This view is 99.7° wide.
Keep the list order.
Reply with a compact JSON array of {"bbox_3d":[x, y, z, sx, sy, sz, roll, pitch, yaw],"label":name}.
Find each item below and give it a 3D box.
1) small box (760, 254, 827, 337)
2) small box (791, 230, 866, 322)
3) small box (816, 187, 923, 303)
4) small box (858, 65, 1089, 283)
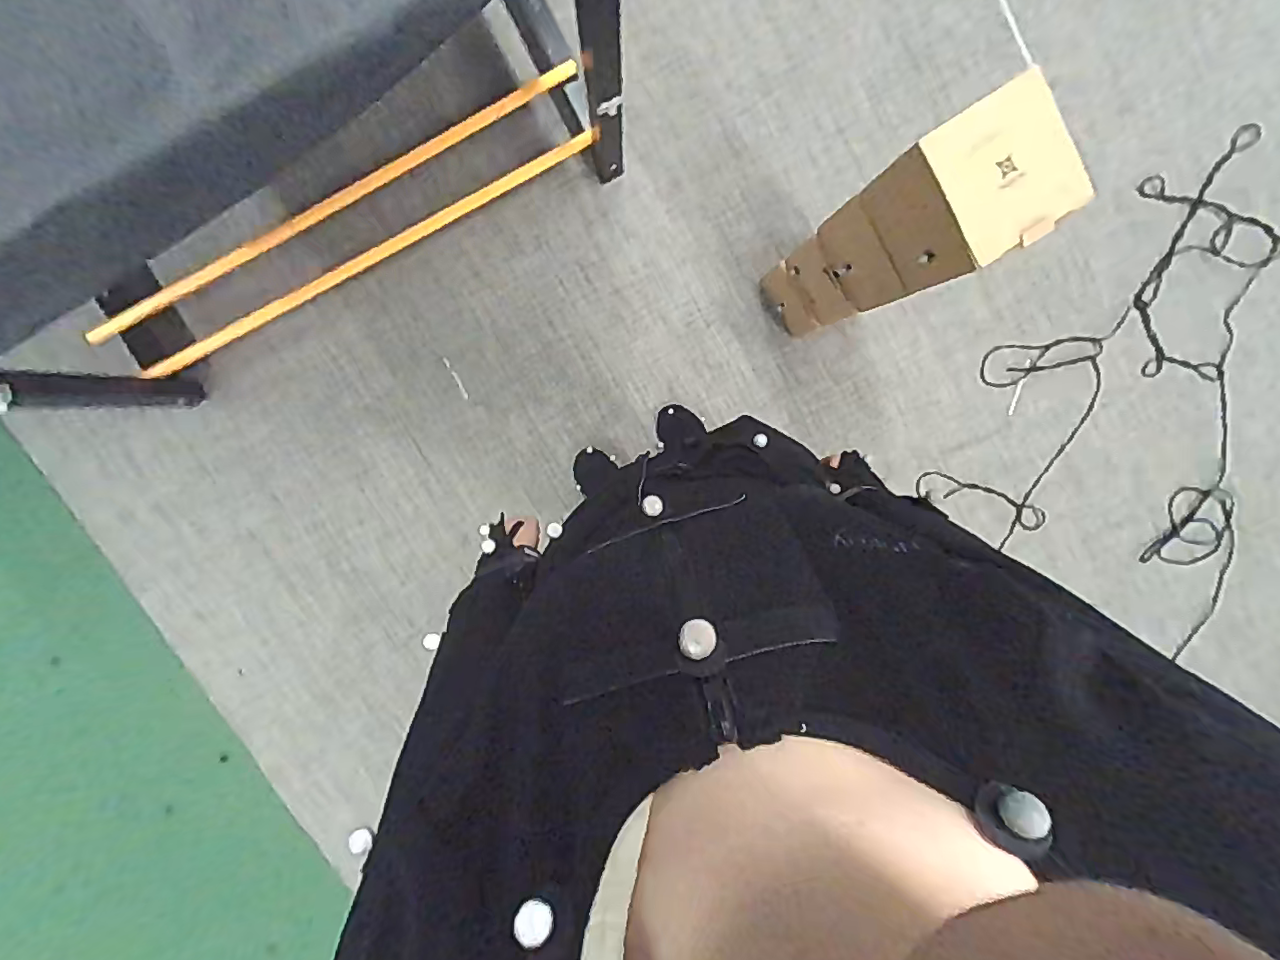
[{"bbox_3d":[0.400,-0.447,1.221,0.179,0.176,0.168,-34,97,3],"label":"small box"},{"bbox_3d":[0.416,-0.431,1.058,0.179,0.176,0.168,-34,98,1],"label":"small box"},{"bbox_3d":[0.426,-0.412,0.896,0.168,0.176,0.179,-33,98,2],"label":"small box"},{"bbox_3d":[0.435,-0.390,0.734,0.168,0.176,0.179,-33,97,2],"label":"small box"}]
